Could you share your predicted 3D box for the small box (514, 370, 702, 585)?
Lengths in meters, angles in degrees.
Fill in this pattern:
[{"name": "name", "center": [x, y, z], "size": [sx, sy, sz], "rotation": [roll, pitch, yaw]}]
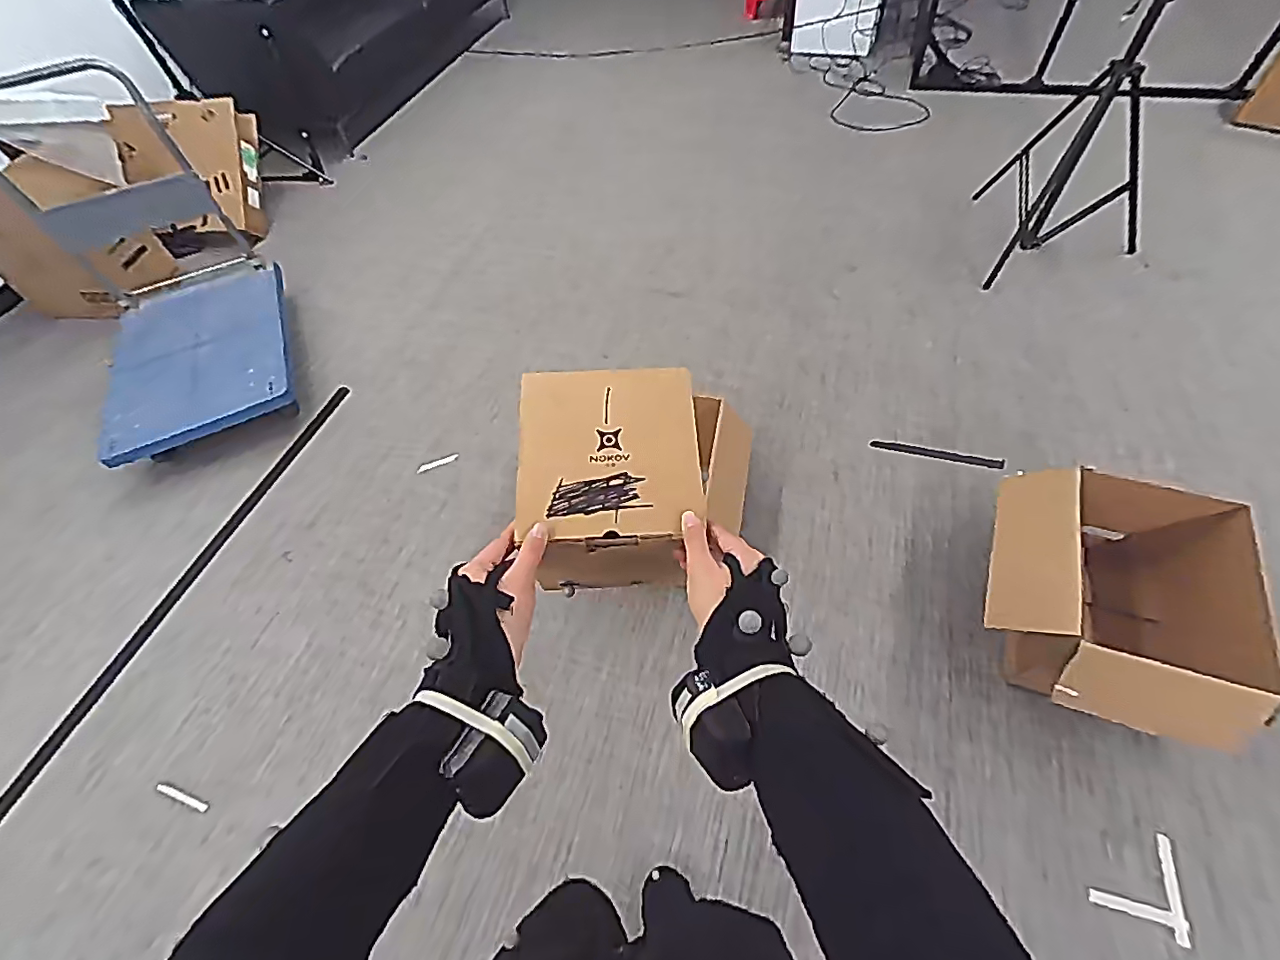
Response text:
[{"name": "small box", "center": [-0.031, 0.008, 0.569], "size": [0.168, 0.176, 0.179], "rotation": [-3, 64, -2]}]
